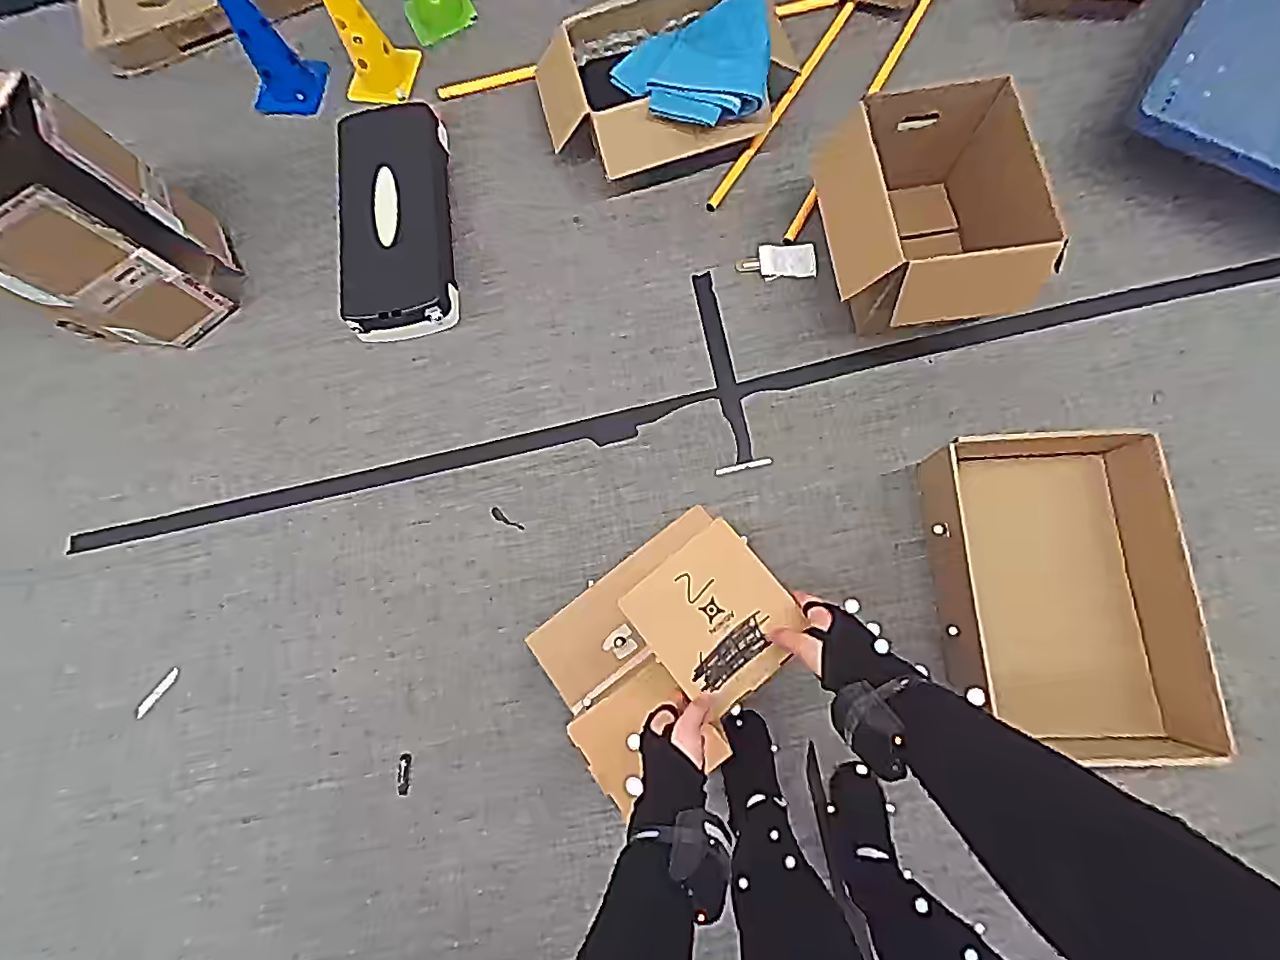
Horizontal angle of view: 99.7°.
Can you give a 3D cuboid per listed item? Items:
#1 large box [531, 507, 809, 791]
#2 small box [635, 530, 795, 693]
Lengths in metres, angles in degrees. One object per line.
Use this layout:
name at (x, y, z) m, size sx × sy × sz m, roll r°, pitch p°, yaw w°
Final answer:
large box at (0.063, 0.314, 1.091) m, size 0.408 × 0.320 × 0.320 m, roll -39°, pitch 76°, yaw -3°
small box at (0.114, 0.205, 0.858) m, size 0.168 × 0.176 × 0.179 m, roll -40°, pitch 77°, yaw -3°
